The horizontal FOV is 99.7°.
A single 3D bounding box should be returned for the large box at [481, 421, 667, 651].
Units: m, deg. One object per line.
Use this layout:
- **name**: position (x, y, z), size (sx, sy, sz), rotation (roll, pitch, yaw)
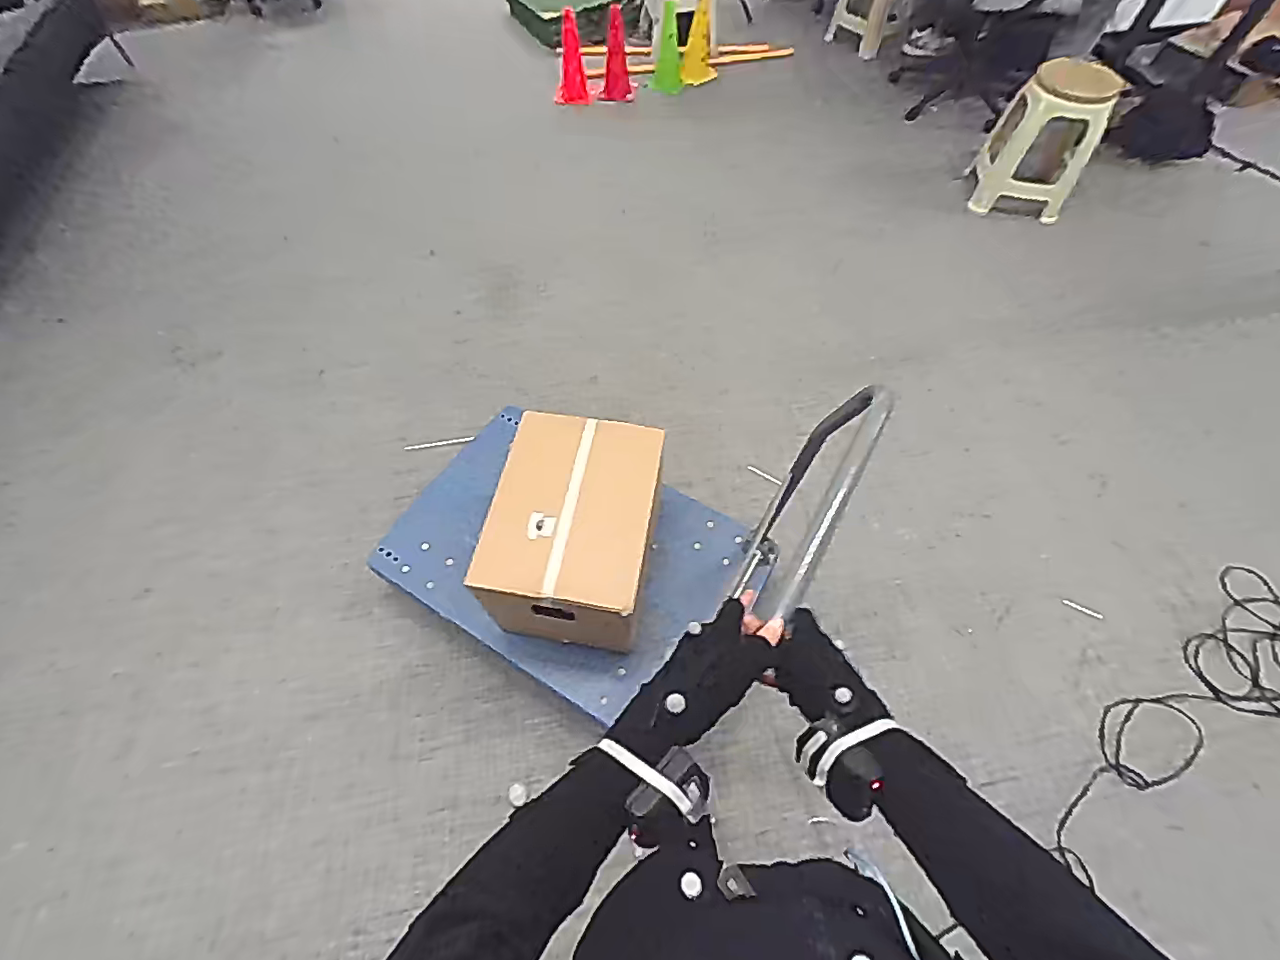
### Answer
- **large box**: position (-0.119, 0.129, 1.208), size (0.320, 0.320, 0.408), rotation (7, 61, 5)
